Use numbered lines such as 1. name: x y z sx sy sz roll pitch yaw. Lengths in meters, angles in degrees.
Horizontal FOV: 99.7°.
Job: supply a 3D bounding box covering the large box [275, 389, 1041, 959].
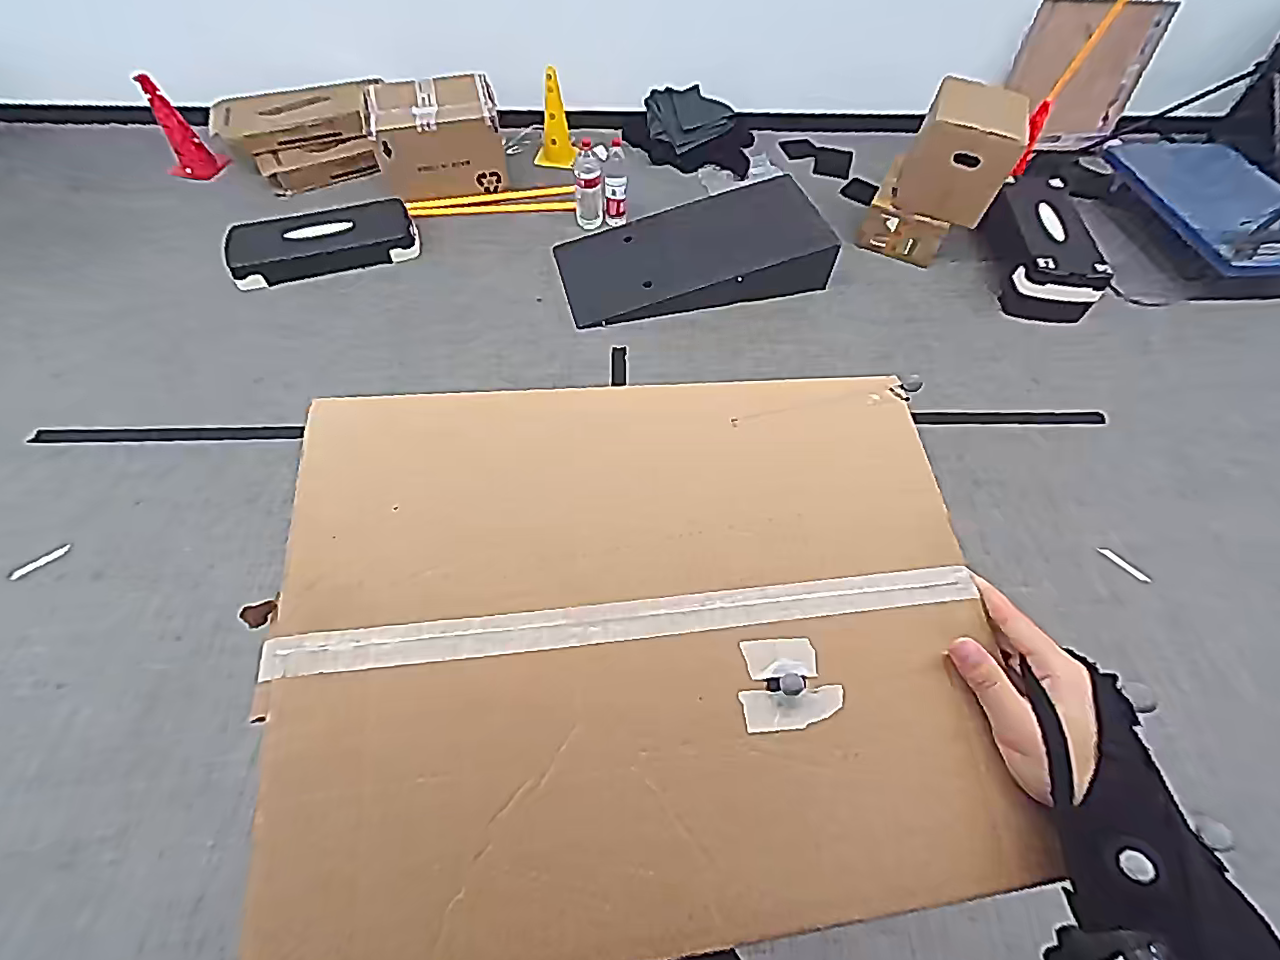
1. large box: -0.008 0.144 0.460 0.408 0.320 0.320 -4 68 -10
